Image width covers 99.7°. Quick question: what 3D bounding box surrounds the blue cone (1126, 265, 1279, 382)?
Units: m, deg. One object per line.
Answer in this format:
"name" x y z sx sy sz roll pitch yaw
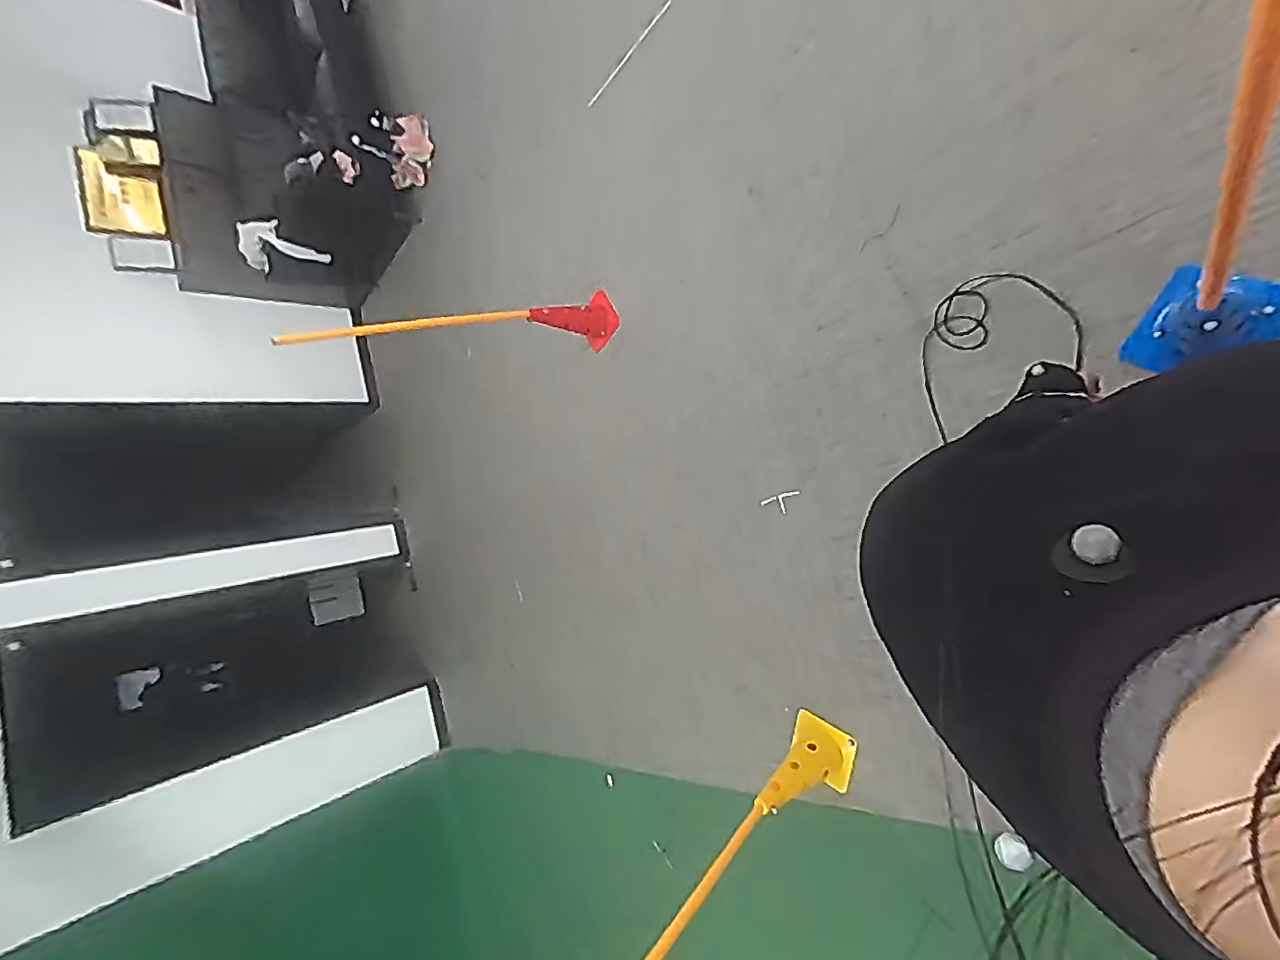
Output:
"blue cone" 0.964 -0.289 0.921 0.192 0.380 0.193 37 119 36
